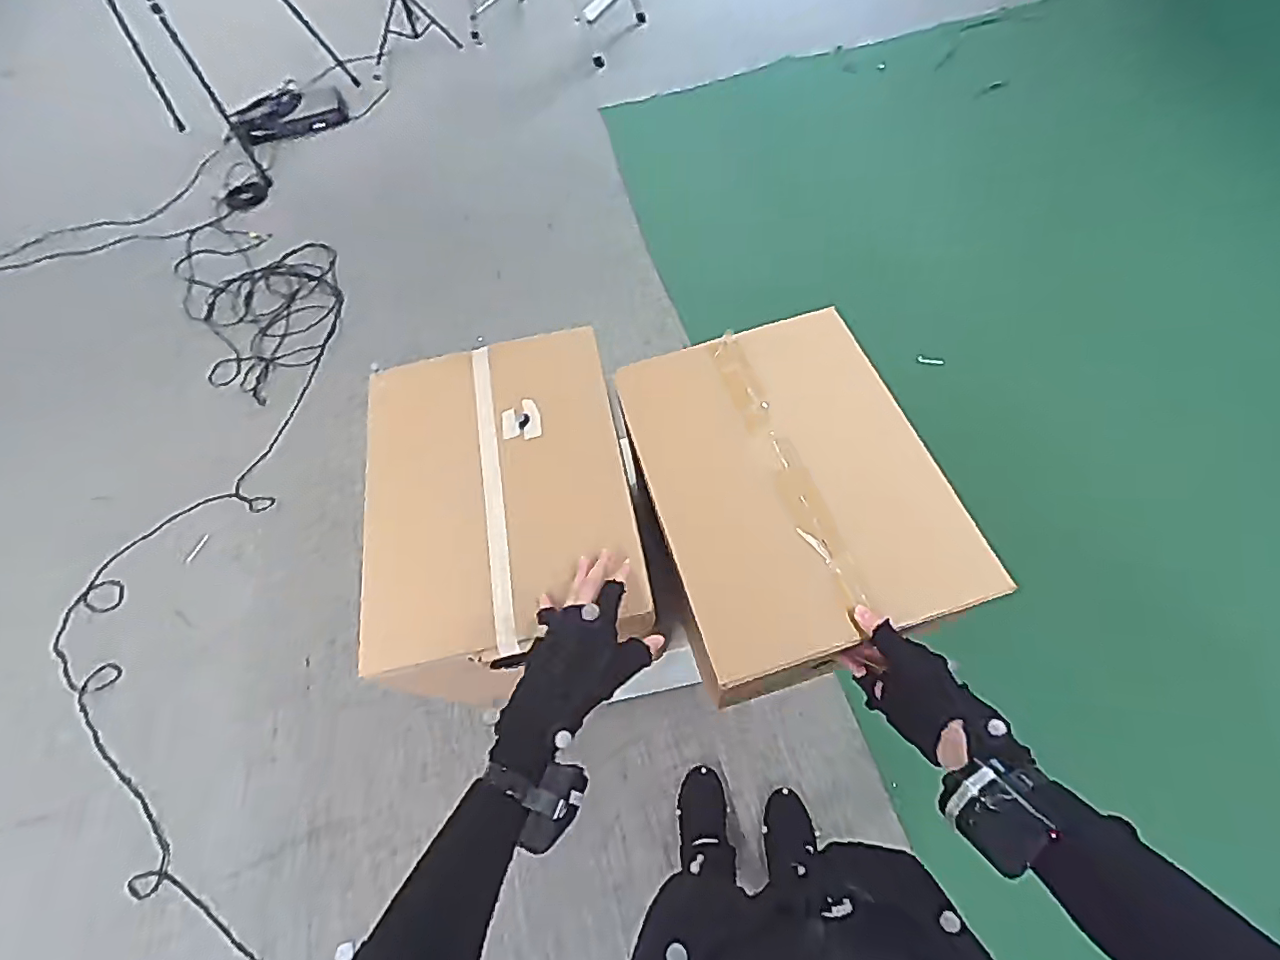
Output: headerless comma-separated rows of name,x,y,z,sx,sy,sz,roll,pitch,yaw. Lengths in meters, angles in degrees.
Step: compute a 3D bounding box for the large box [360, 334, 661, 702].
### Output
large box,-0.168,0.068,0.788,0.320,0.320,0.408,-12,62,-1
